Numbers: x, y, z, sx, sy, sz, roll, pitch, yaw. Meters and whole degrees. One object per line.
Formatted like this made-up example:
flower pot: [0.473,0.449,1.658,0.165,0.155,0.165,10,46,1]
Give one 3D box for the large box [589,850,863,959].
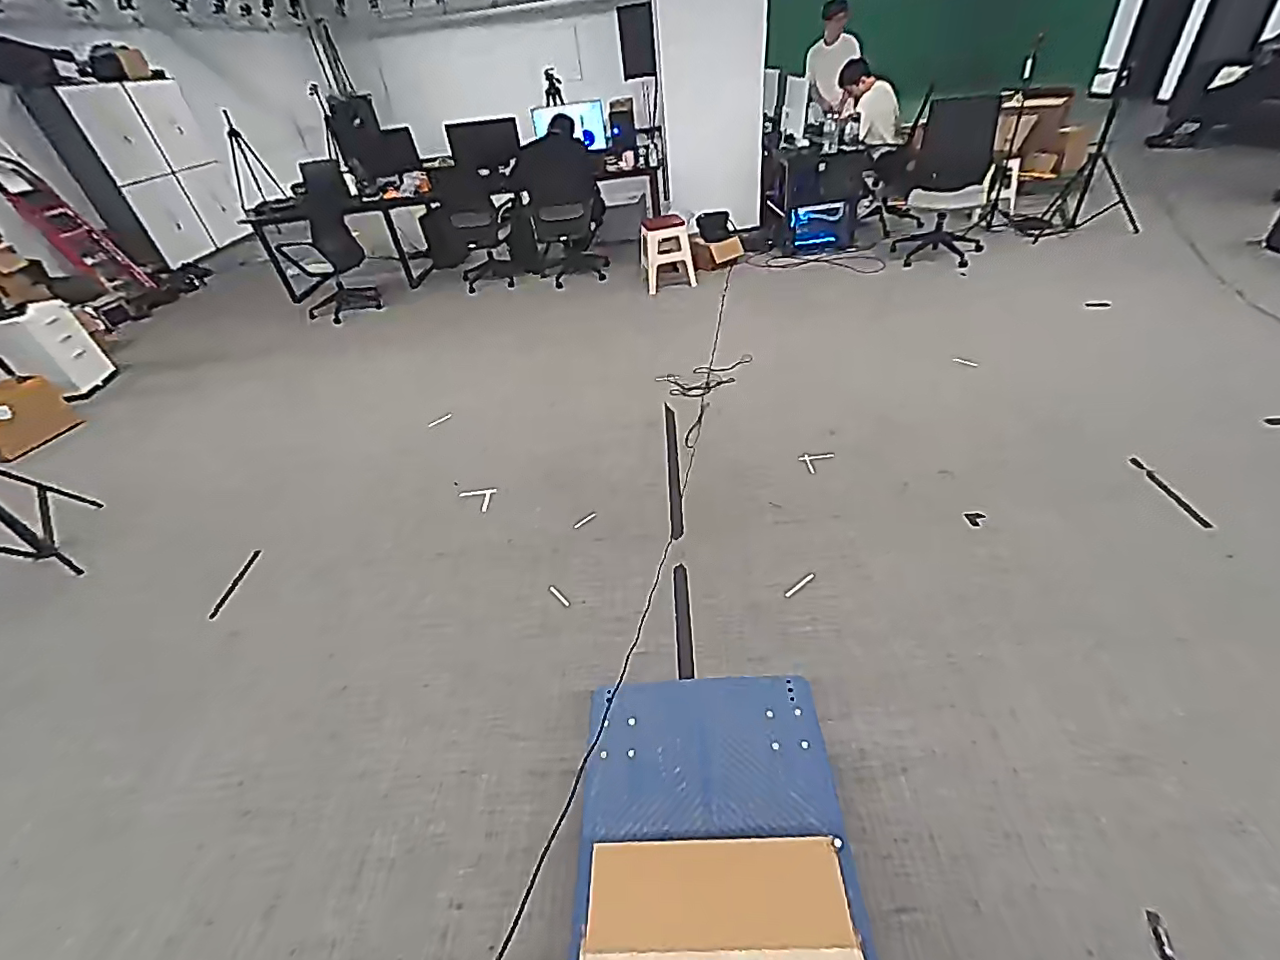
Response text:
large box: [0.136,0.828,0.854,0.408,0.320,0.320,-5,38,4]
